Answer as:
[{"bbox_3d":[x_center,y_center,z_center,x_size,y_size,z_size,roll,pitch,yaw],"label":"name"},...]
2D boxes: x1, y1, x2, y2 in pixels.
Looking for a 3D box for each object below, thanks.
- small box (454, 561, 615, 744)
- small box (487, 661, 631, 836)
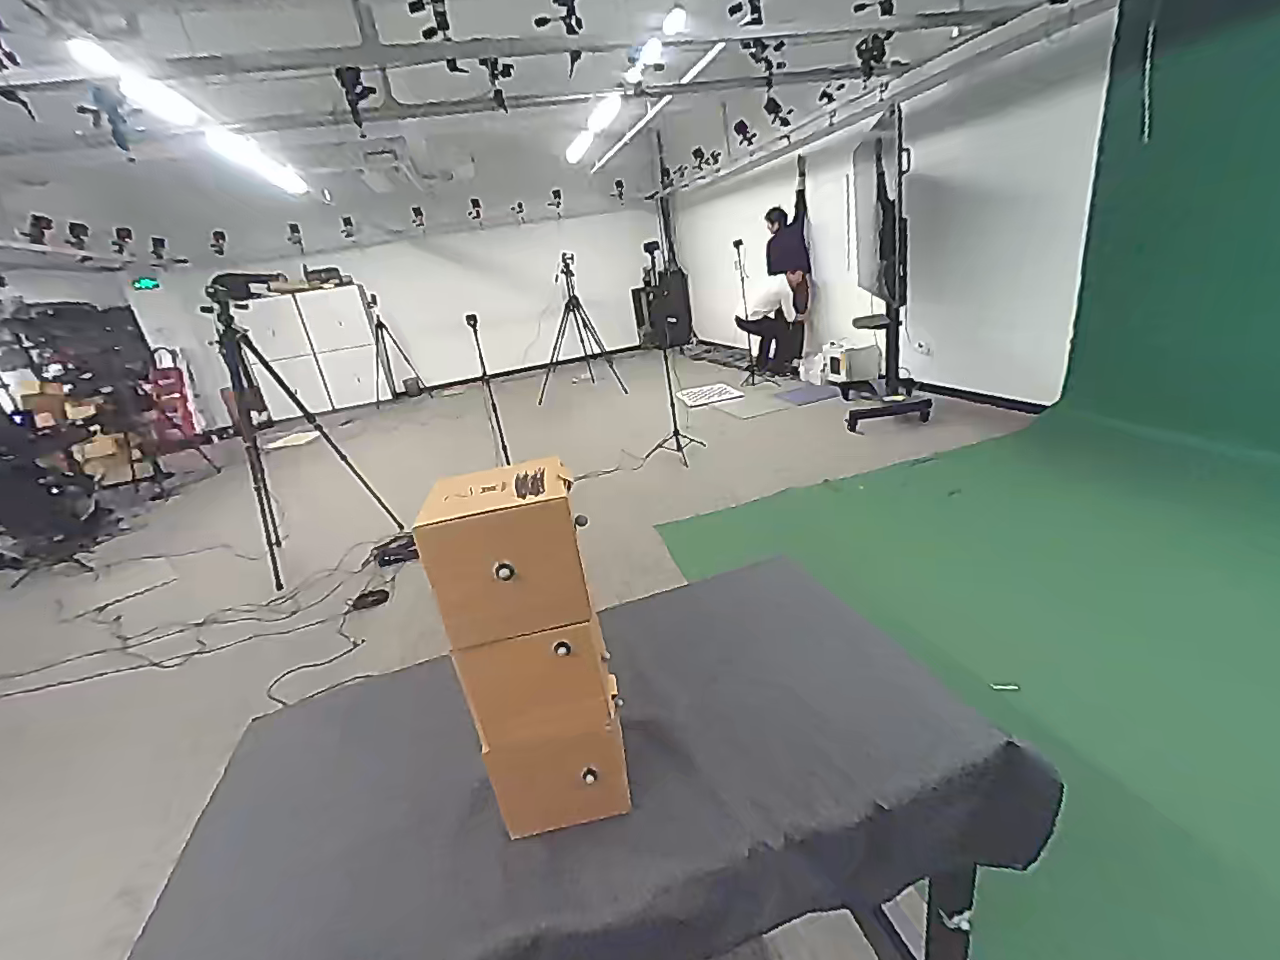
[{"bbox_3d":[-0.139,0.239,0.761,0.179,0.176,0.168,-10,20,-4],"label":"small box"},{"bbox_3d":[-0.113,0.390,0.814,0.179,0.176,0.168,-12,20,-4],"label":"small box"}]
